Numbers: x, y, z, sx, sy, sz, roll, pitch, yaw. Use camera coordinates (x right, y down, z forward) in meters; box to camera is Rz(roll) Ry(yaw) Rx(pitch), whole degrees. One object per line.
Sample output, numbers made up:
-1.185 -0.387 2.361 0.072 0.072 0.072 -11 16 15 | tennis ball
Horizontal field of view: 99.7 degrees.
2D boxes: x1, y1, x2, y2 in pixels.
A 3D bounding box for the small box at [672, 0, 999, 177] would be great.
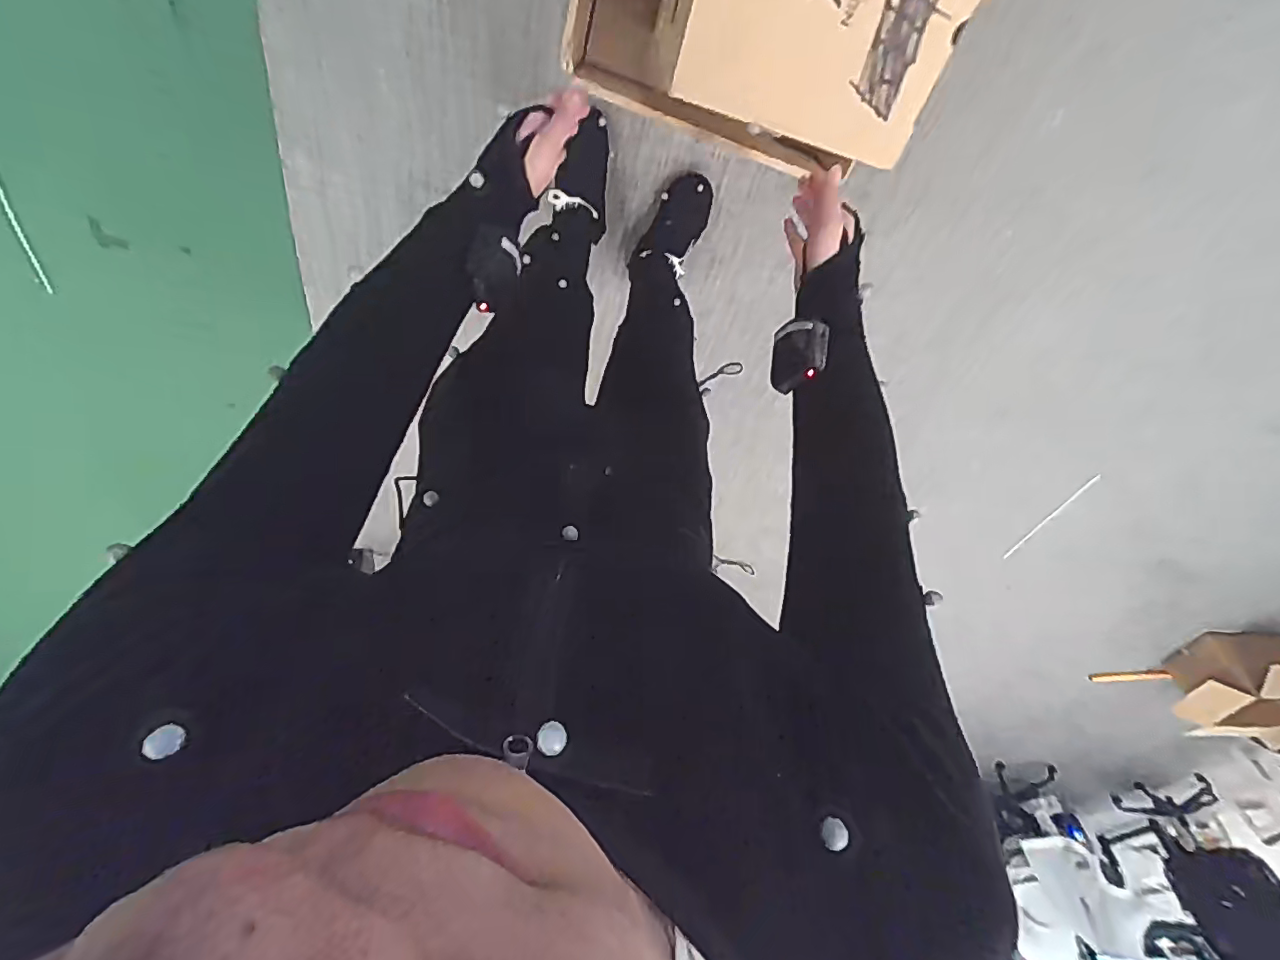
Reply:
0.131 -0.352 0.386 0.179 0.176 0.168 12 133 -10 | small box
